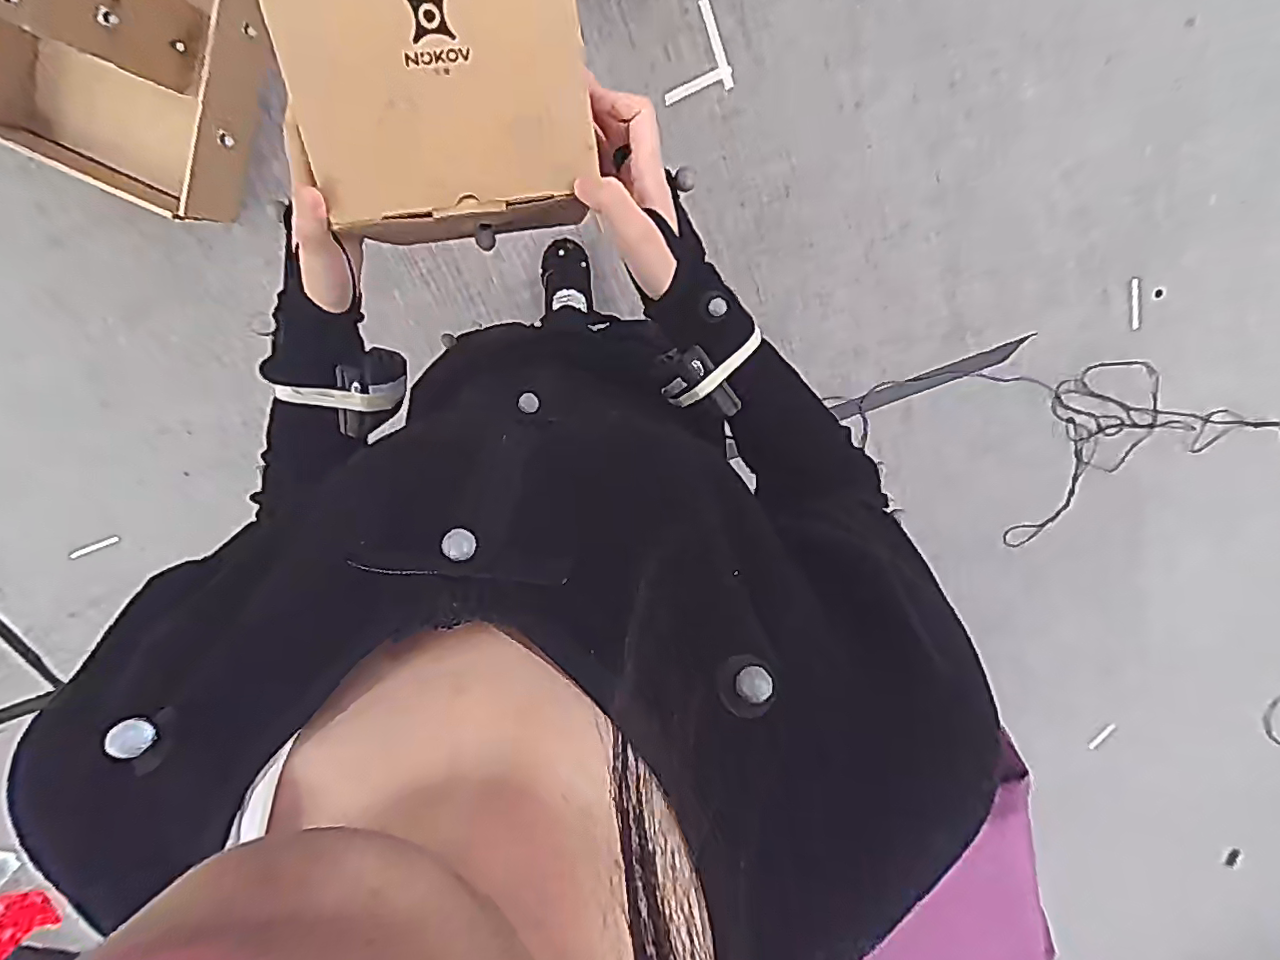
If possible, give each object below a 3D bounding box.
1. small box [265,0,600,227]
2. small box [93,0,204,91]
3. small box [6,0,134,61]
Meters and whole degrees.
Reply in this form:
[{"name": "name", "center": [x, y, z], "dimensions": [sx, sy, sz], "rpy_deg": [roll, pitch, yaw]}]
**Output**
[{"name": "small box", "center": [-0.126, -0.275, 0.366], "dimensions": [0.168, 0.176, 0.179], "rpy_deg": [-11, 112, -8]}, {"name": "small box", "center": [-0.973, -0.870, 1.004], "dimensions": [0.179, 0.176, 0.168], "rpy_deg": [26, 108, -13]}, {"name": "small box", "center": [-0.964, -0.813, 0.852], "dimensions": [0.179, 0.176, 0.168], "rpy_deg": [24, 109, -13]}]
